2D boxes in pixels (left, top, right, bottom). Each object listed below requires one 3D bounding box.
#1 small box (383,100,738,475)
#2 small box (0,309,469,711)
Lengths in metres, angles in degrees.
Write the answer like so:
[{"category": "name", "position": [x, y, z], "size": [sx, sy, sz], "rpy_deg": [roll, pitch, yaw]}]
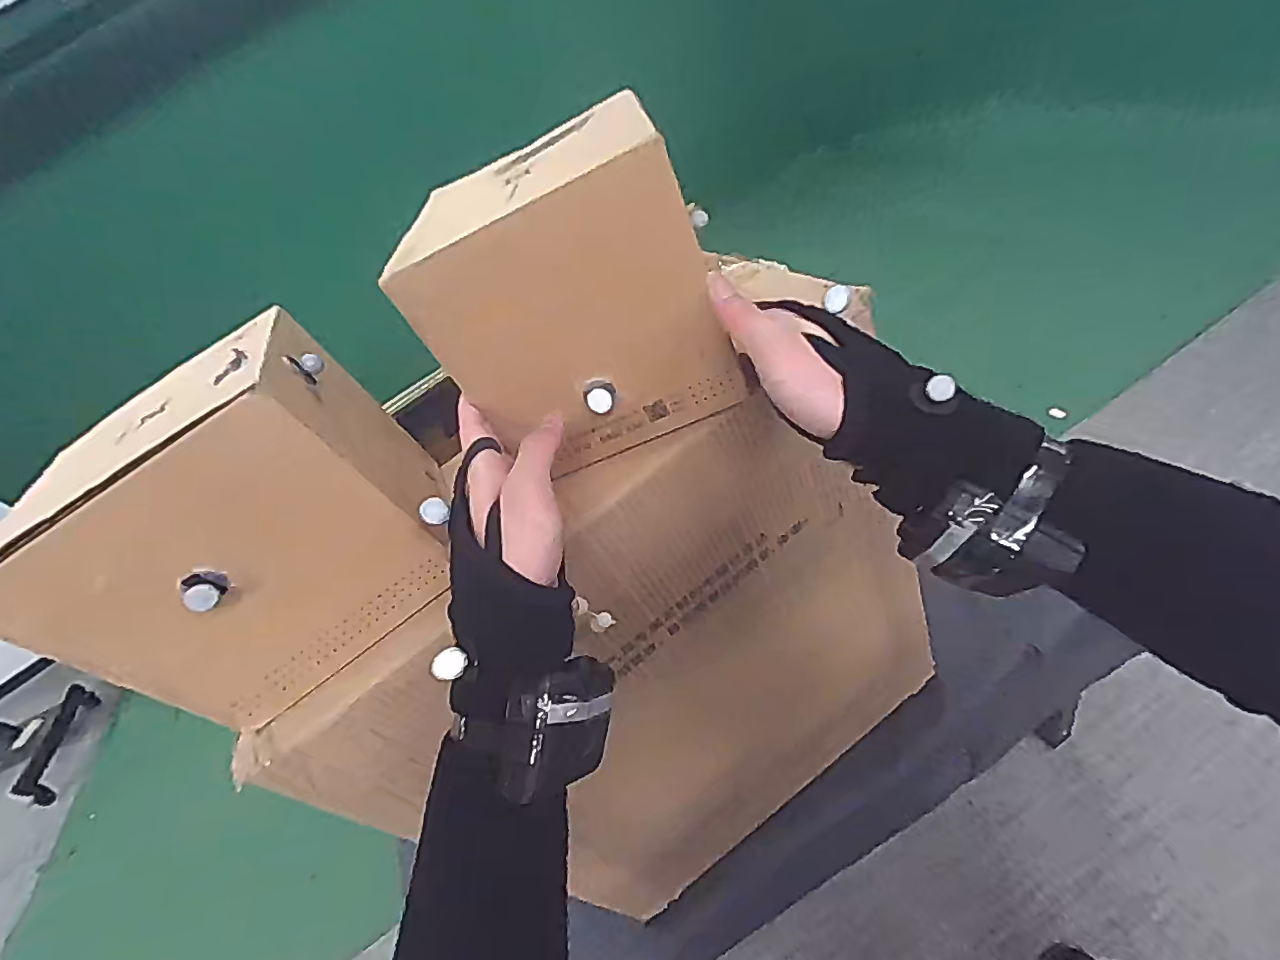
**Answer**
[{"category": "small box", "position": [-0.043, -0.135, 0.392], "size": [0.168, 0.176, 0.179], "rpy_deg": [-21, 41, 12]}, {"category": "small box", "position": [-0.250, 0.020, 0.368], "size": [0.179, 0.176, 0.168], "rpy_deg": [-38, 41, -4]}]
